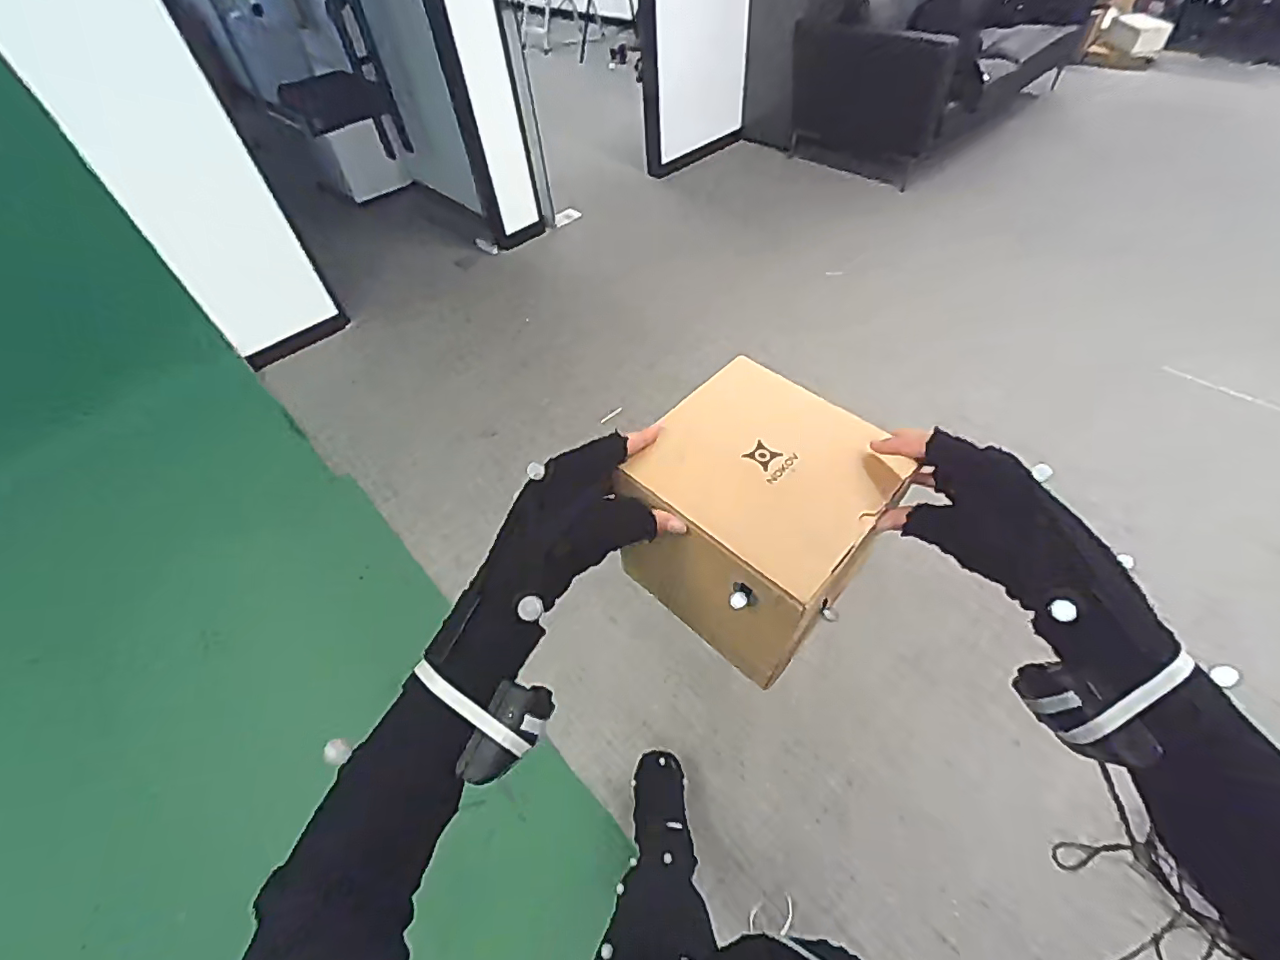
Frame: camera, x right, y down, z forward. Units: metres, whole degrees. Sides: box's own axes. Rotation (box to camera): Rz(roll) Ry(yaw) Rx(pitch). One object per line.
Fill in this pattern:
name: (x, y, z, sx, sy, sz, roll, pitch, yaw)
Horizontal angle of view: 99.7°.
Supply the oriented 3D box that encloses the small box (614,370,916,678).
small box: (0.097, 0.041, 0.478, 0.179, 0.176, 0.168, 36, 61, 26)
